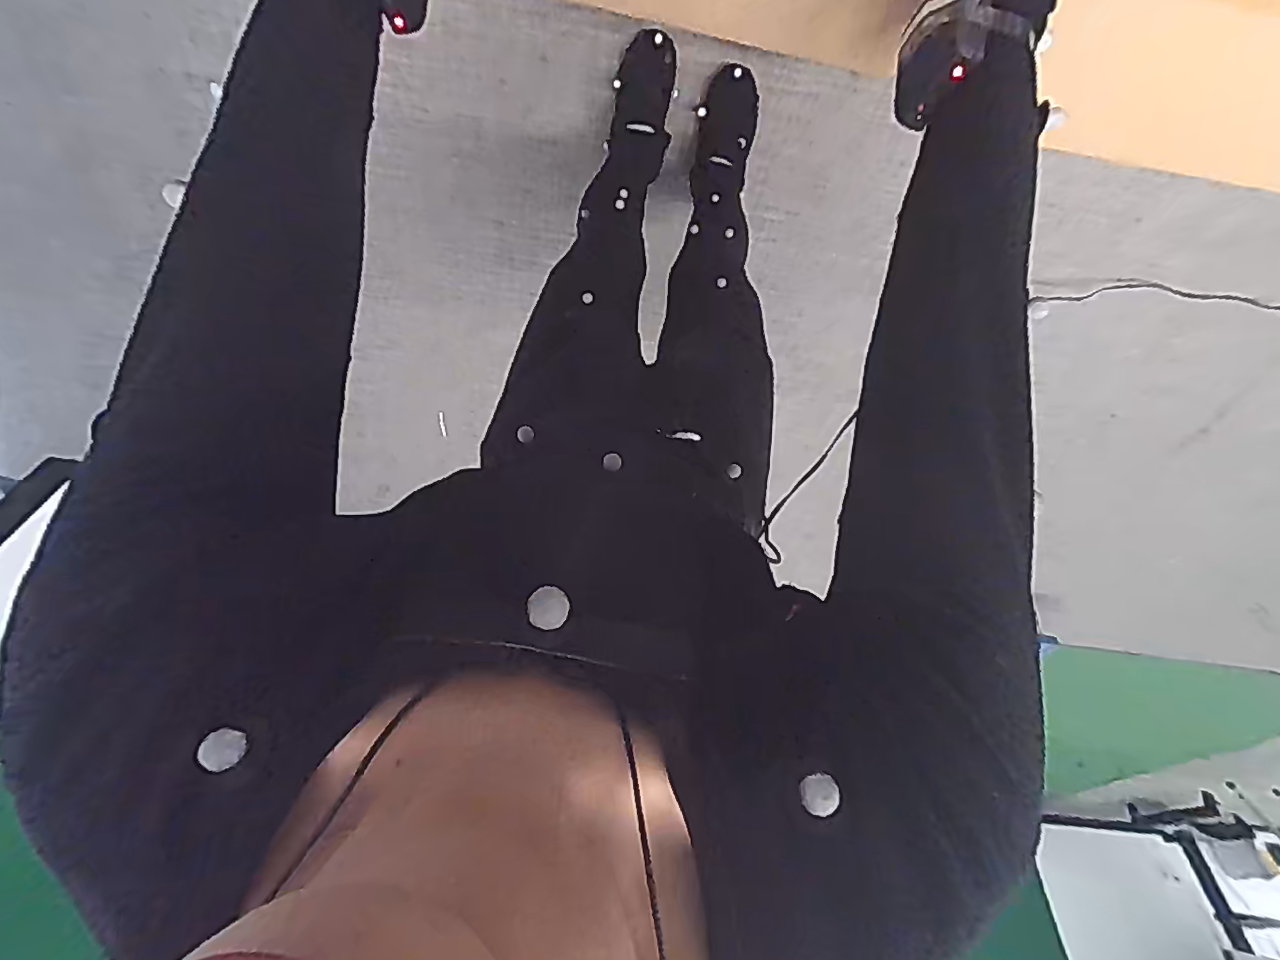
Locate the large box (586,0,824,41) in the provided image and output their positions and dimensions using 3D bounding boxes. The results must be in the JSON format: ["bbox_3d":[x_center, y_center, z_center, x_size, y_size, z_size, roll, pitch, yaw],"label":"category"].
[{"bbox_3d":[0.079,-0.852,0.734,0.408,0.320,0.320,10,137,-3],"label":"large box"}]
